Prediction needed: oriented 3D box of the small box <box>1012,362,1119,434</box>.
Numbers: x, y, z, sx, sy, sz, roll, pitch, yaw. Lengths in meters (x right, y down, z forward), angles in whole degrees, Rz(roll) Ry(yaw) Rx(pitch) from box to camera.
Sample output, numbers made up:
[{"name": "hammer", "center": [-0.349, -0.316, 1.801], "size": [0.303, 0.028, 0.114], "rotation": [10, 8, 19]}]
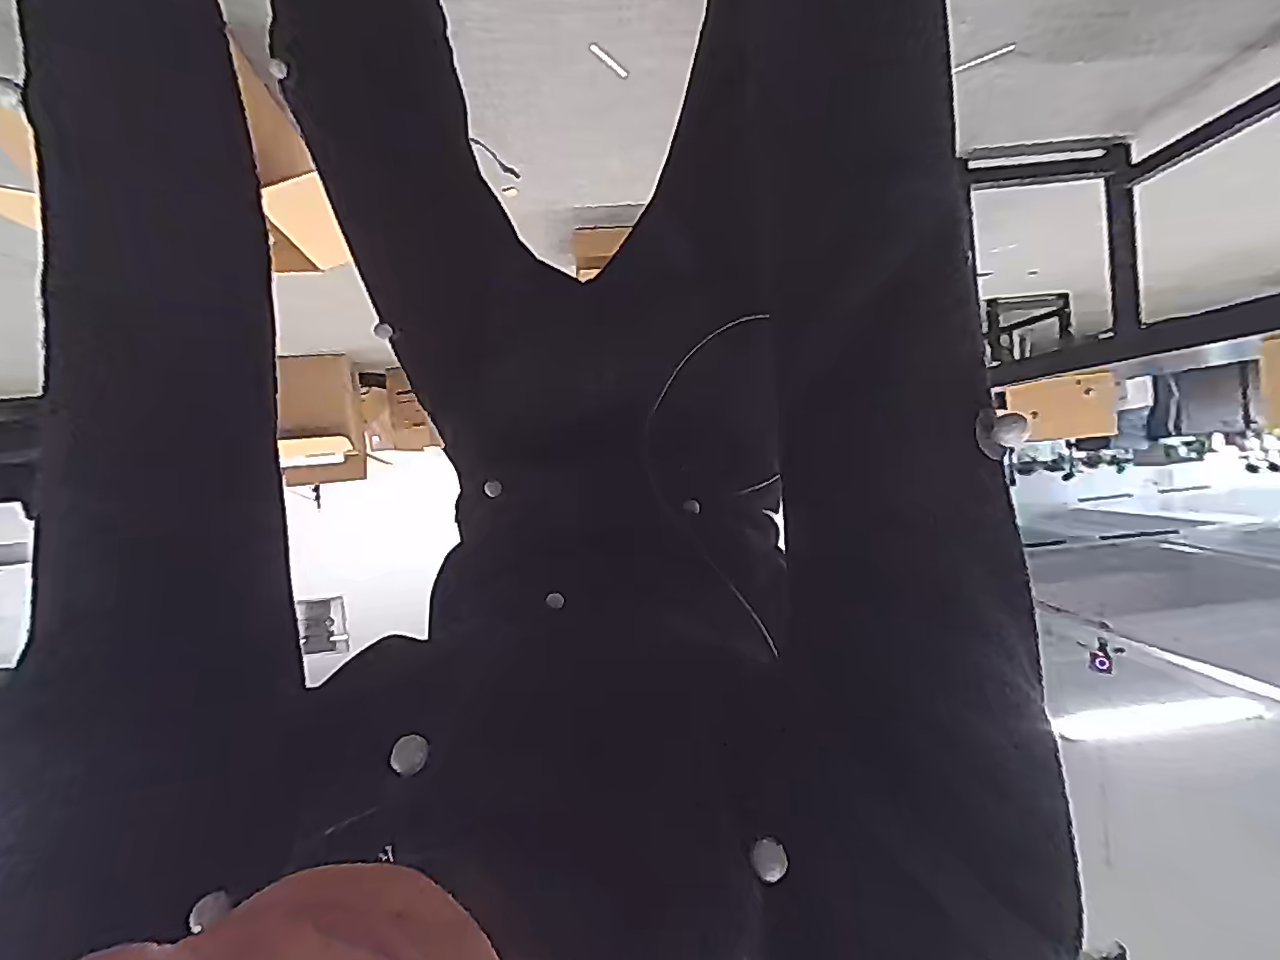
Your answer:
[{"name": "small box", "center": [1.163, -0.224, 1.490], "size": [0.168, 0.176, 0.179], "rotation": [-7, -179, -6]}]

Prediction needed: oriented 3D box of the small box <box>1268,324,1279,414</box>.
[{"name": "small box", "center": [1.291, -0.215, 0.962], "size": [0.179, 0.176, 0.168], "rotation": [-6, -178, -9]}]
